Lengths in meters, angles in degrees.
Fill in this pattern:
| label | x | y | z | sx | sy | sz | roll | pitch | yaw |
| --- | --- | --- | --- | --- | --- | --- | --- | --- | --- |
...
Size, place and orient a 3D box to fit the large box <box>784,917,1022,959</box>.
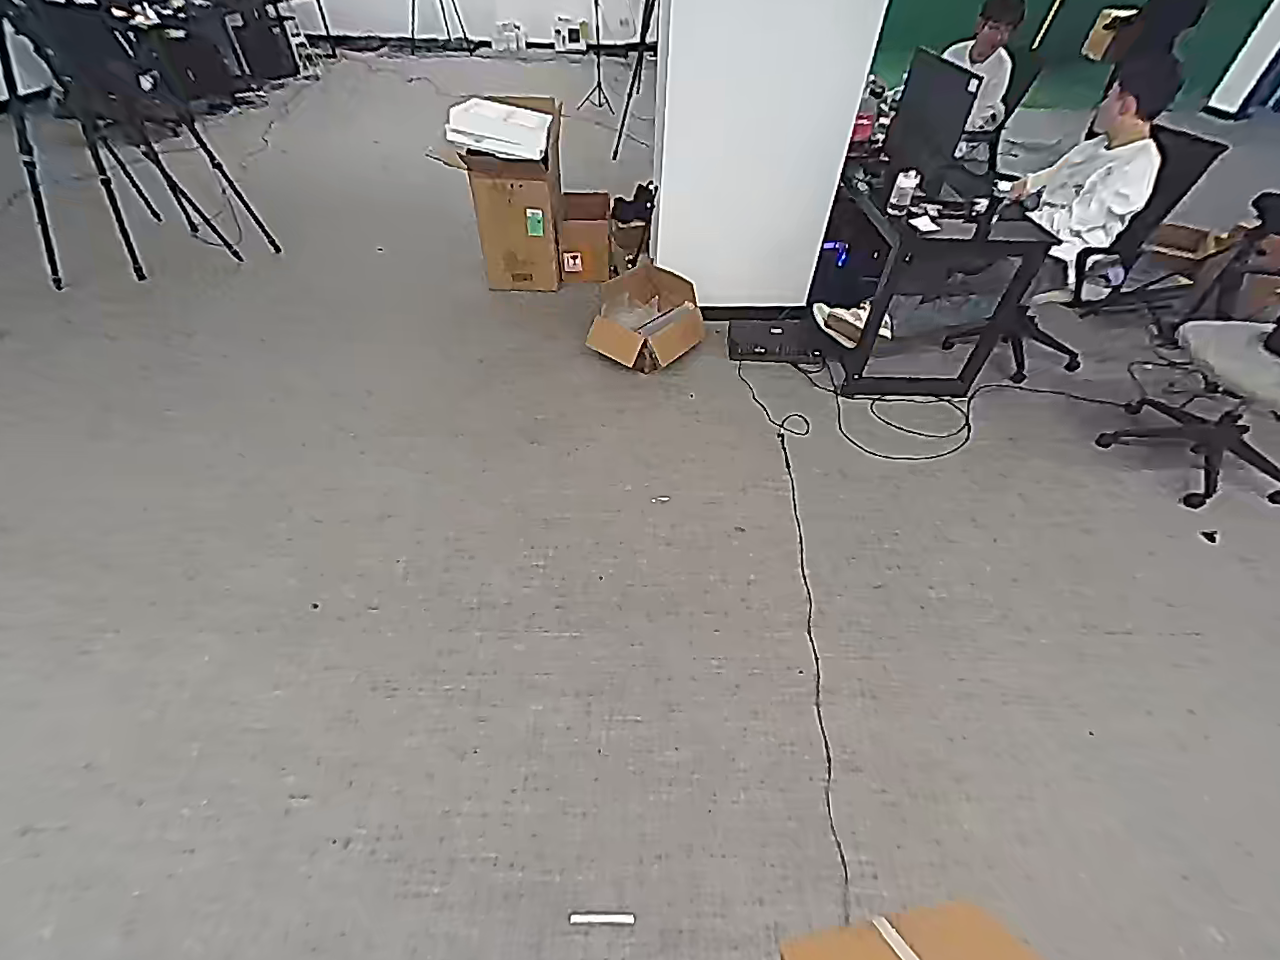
| label | x | y | z | sx | sy | sz | roll | pitch | yaw |
| --- | --- | --- | --- | --- | --- | --- | --- | --- | --- |
| large box | 0.395 | 0.793 | 0.590 | 0.320 | 0.408 | 0.320 | -7 | 81 | -7 |
